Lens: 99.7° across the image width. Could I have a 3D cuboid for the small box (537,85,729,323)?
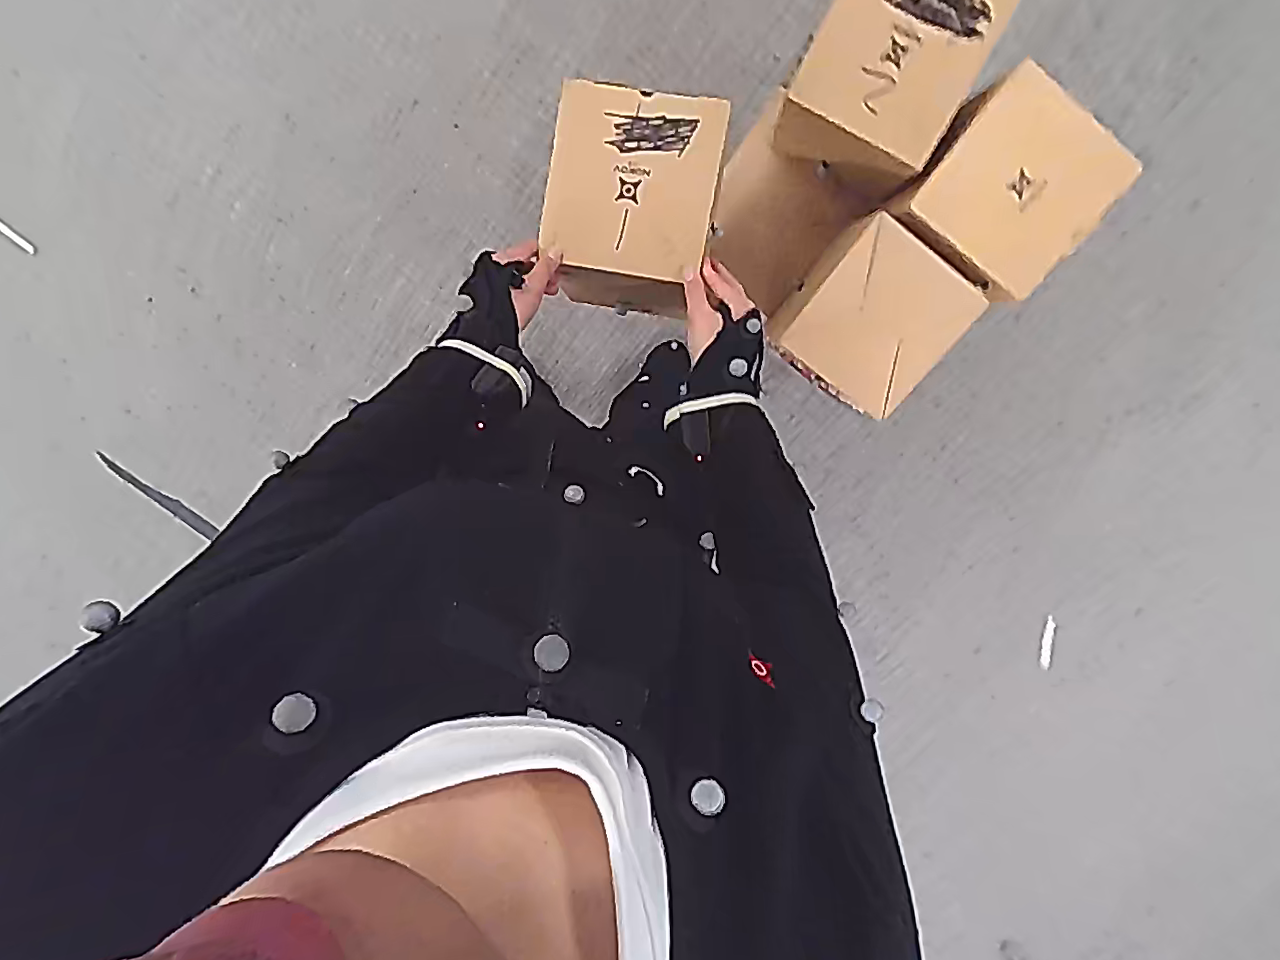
[{"bbox_3d":[-0.003,-0.292,0.609,0.168,0.176,0.179,11,96,4],"label":"small box"}]
